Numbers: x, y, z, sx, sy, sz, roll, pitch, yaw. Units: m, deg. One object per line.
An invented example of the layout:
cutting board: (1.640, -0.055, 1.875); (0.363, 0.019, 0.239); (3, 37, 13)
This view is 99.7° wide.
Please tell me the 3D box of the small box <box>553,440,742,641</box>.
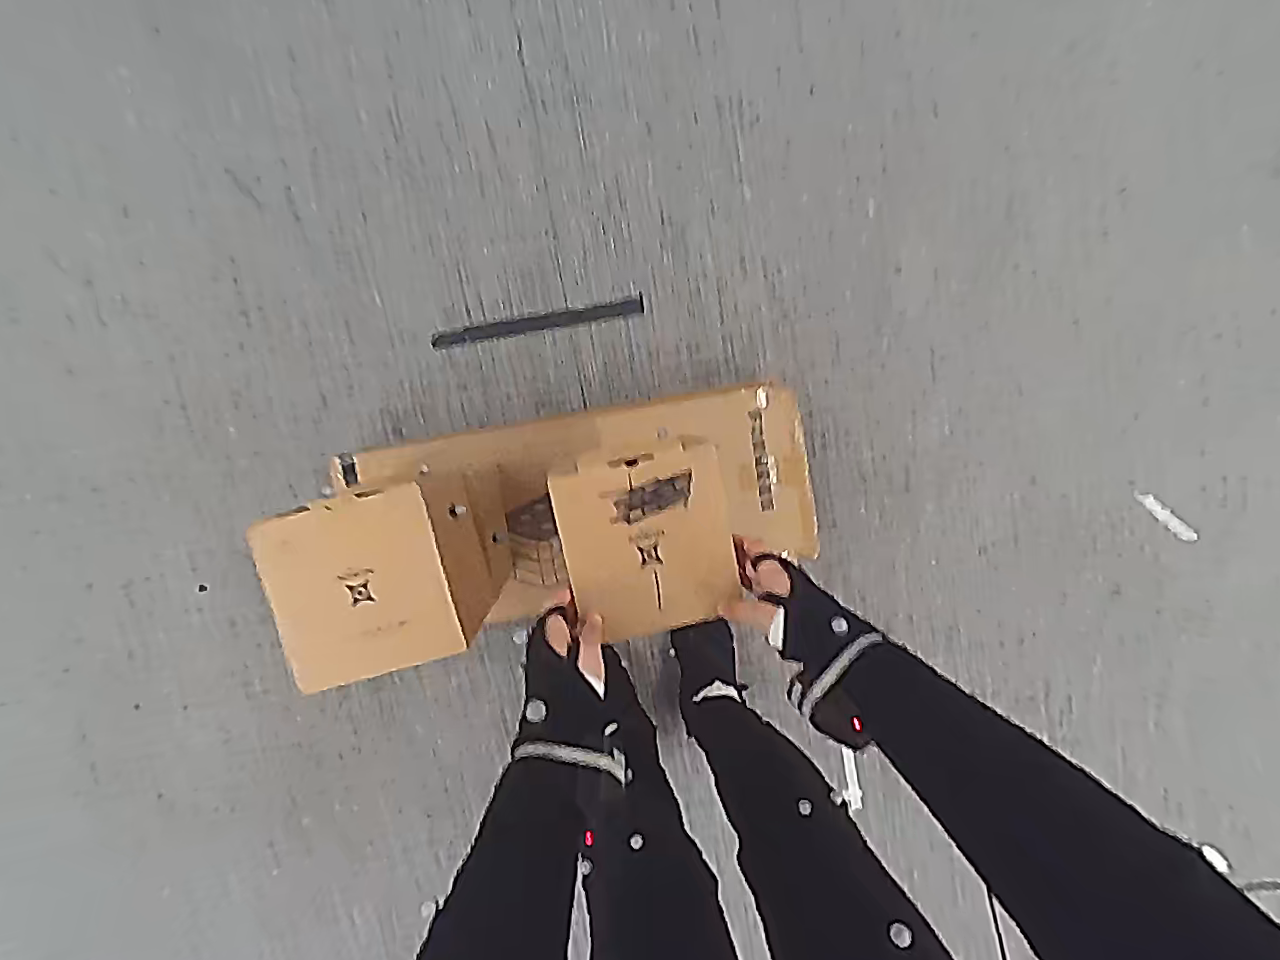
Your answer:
small box: (0.001, 0.053, 0.613); (0.168, 0.176, 0.179); (-12, 99, -4)

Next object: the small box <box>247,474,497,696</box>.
small box: (-0.270, 0.096, 0.589); (0.168, 0.176, 0.179); (-15, 98, -2)

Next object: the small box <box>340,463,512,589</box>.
small box: (-0.281, 0.078, 0.752); (0.168, 0.176, 0.179); (-8, 97, -4)
